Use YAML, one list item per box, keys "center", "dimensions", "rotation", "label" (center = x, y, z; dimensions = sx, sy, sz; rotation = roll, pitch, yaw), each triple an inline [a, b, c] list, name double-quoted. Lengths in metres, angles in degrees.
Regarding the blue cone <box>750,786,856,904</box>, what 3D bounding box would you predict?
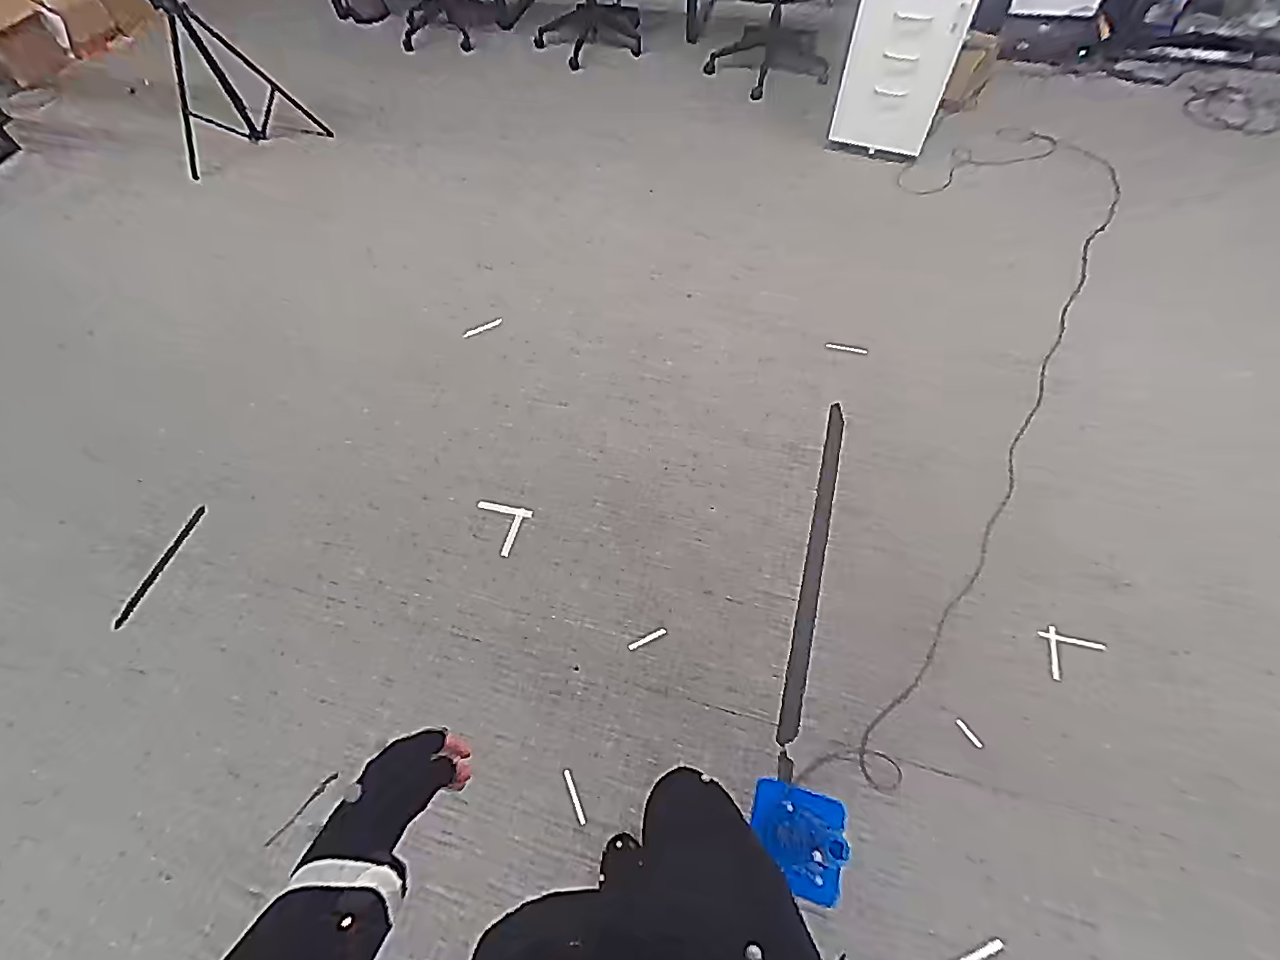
- center: [0.333, 0.693, 1.021]
  dimensions: [0.193, 0.380, 0.192]
  rotation: [12, 60, 9]
  label: "blue cone"
